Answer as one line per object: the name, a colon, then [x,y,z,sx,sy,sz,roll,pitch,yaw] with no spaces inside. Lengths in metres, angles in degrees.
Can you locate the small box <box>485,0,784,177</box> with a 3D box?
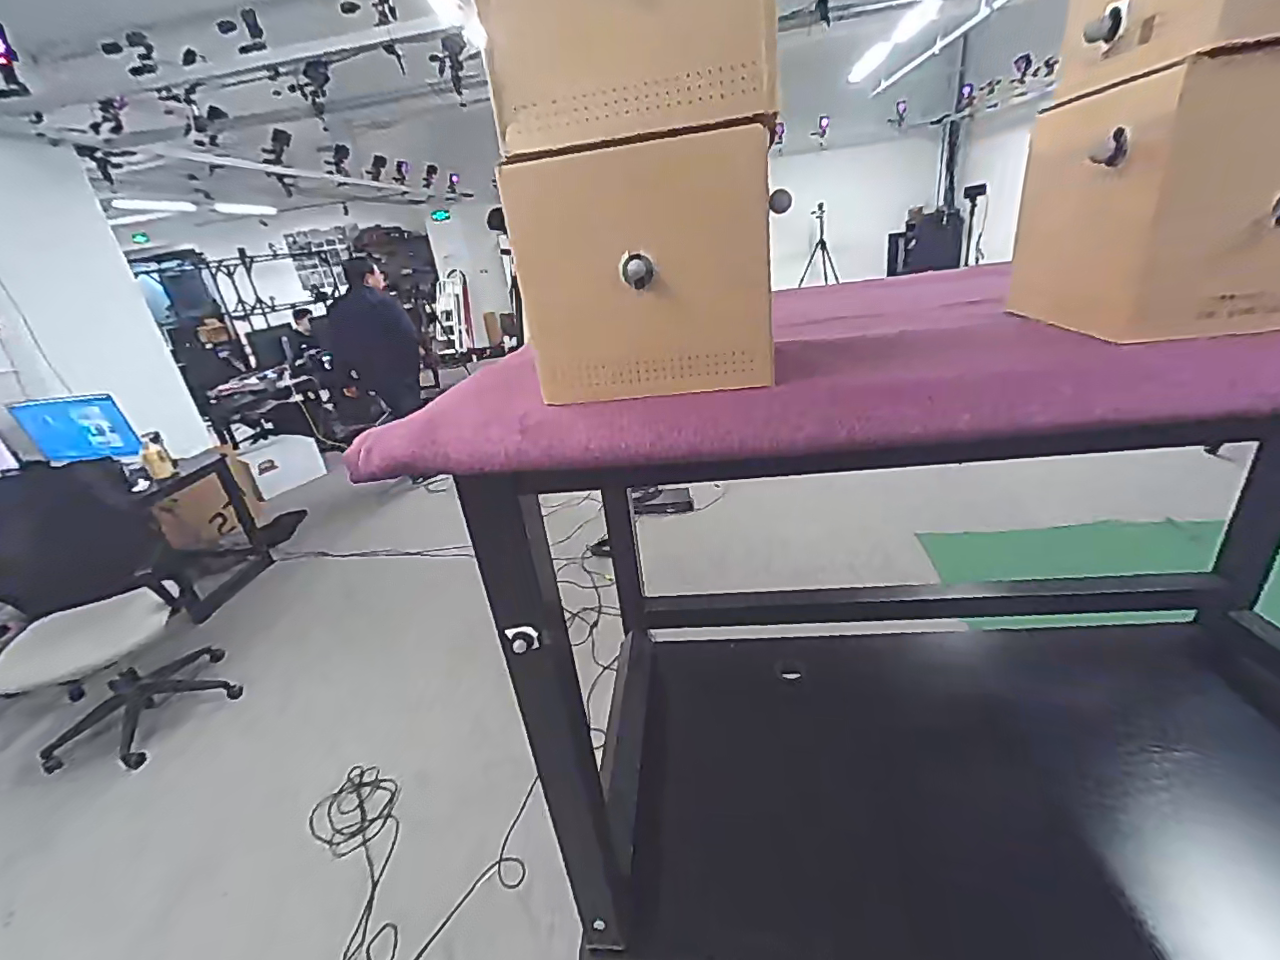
small box: [-0.001,-0.314,0.371,0.179,0.176,0.168,-4,25,9]

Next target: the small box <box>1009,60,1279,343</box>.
small box: [0.416,-0.203,0.409,0.168,0.176,0.179,-2,25,9]
